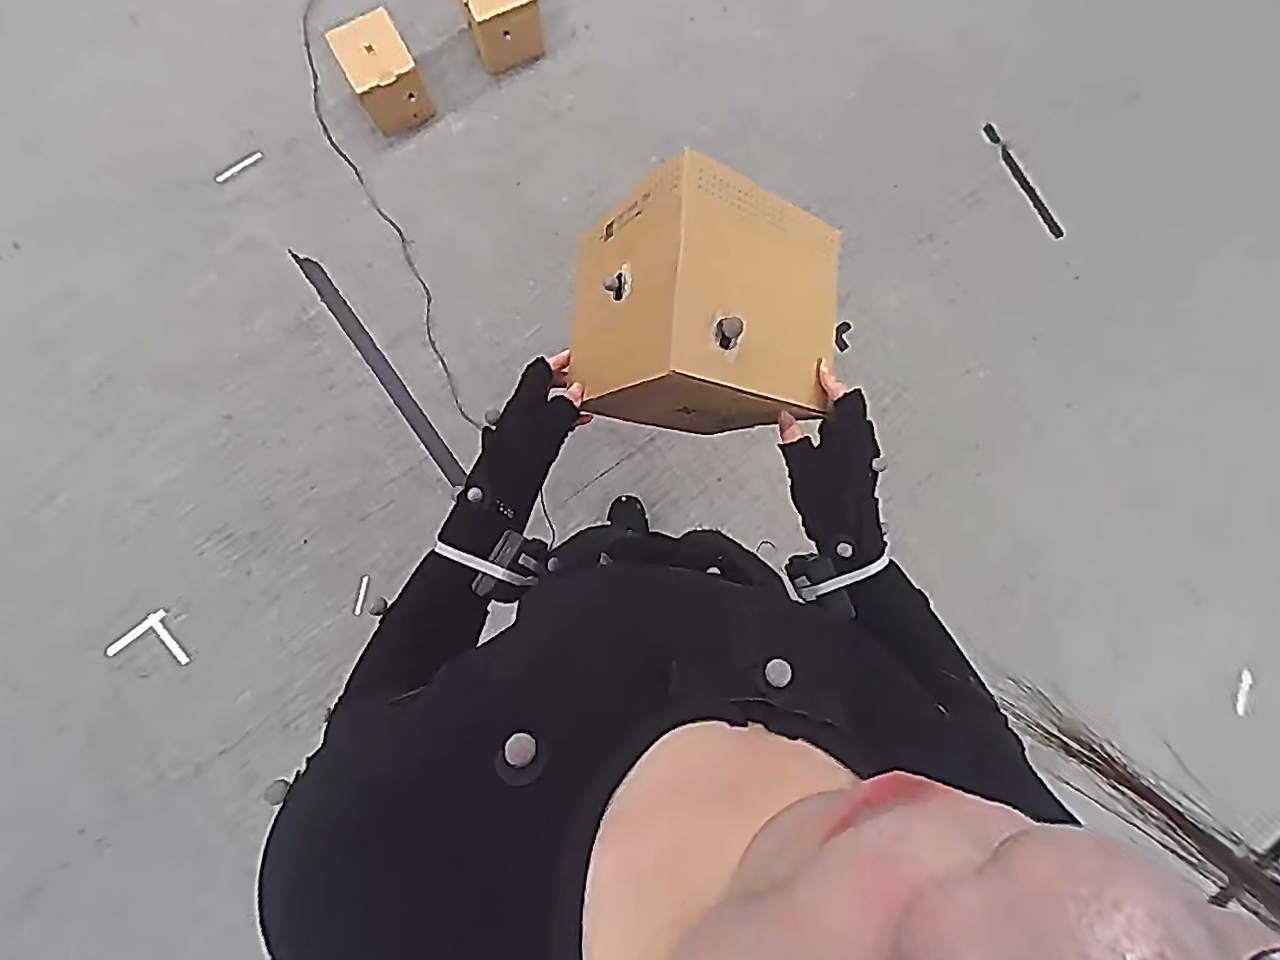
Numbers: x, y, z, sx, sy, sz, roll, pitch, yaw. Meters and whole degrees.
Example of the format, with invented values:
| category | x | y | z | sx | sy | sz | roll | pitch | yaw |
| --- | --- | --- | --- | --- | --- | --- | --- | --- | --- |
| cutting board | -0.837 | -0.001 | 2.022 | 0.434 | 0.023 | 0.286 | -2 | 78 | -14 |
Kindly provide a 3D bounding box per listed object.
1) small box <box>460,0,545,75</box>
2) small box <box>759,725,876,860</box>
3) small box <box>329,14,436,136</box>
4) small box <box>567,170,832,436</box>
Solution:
| category | x | y | z | sx | sy | sz | roll | pitch | yaw |
| --- | --- | --- | --- | --- | --- | --- | --- | --- | --- |
| small box | -0.373 | -1.247 | 1.454 | 0.179 | 0.176 | 0.168 | -26 | 90 | -4 |
| small box | 0.393 | 0.706 | 1.241 | 0.179 | 0.176 | 0.168 | -31 | 91 | -4 |
| small box | -0.671 | -1.056 | 1.432 | 0.168 | 0.176 | 0.179 | -29 | 89 | -4 |
| small box | 0.052 | -0.143 | 0.490 | 0.179 | 0.168 | 0.176 | 7 | 85 | -34 |
